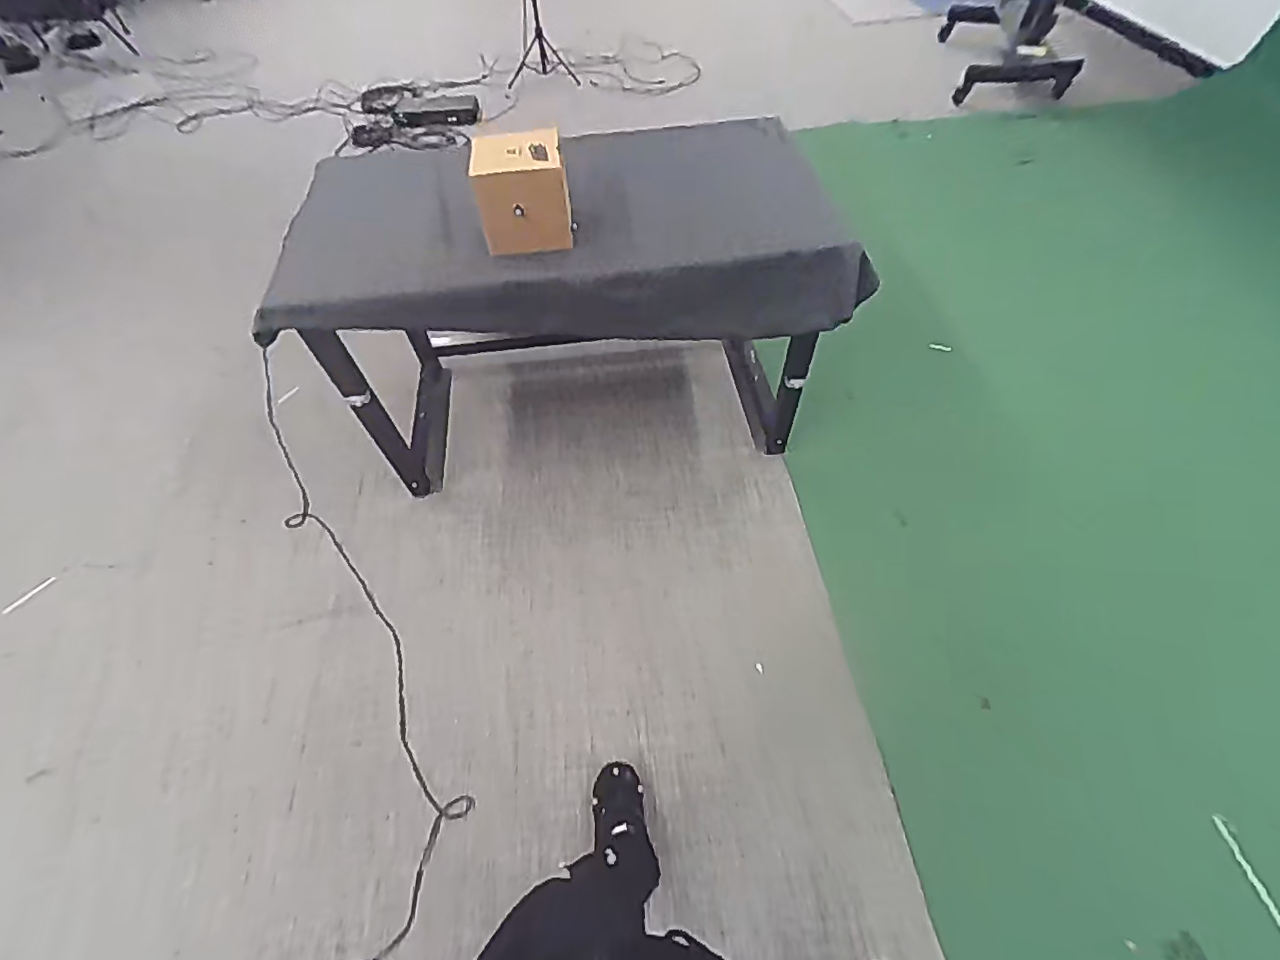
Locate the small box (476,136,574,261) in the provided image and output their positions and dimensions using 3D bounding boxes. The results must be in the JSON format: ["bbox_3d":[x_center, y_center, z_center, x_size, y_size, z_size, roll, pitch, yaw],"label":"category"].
[{"bbox_3d":[-0.233,-0.581,1.123,0.179,0.176,0.168,-9,56,-5],"label":"small box"}]
